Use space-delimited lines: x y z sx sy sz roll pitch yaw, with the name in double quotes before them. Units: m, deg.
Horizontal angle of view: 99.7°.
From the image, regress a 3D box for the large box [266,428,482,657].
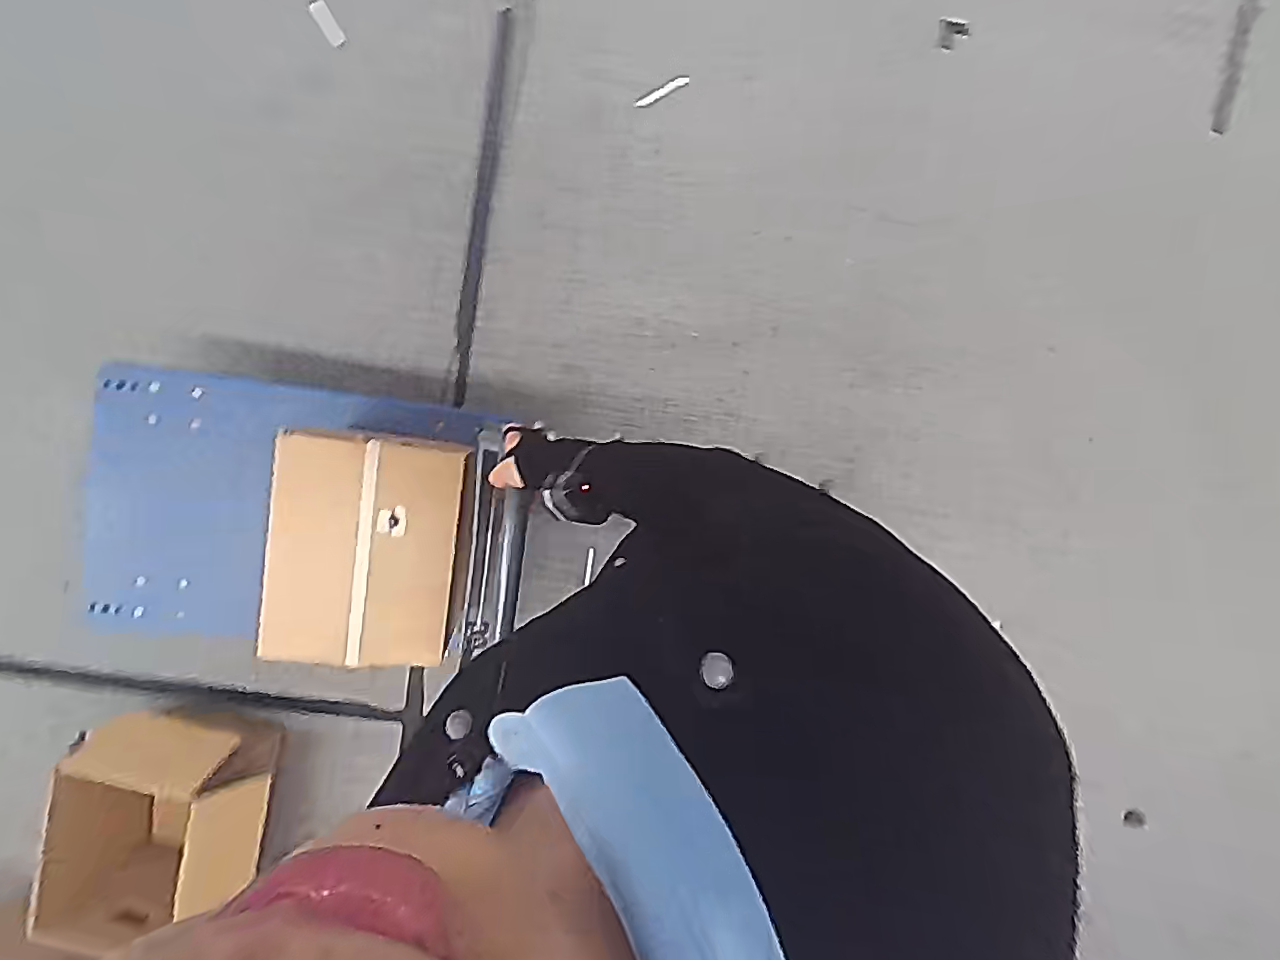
"large box" -0.519 0.112 1.121 0.320 0.320 0.408 7 93 -12
